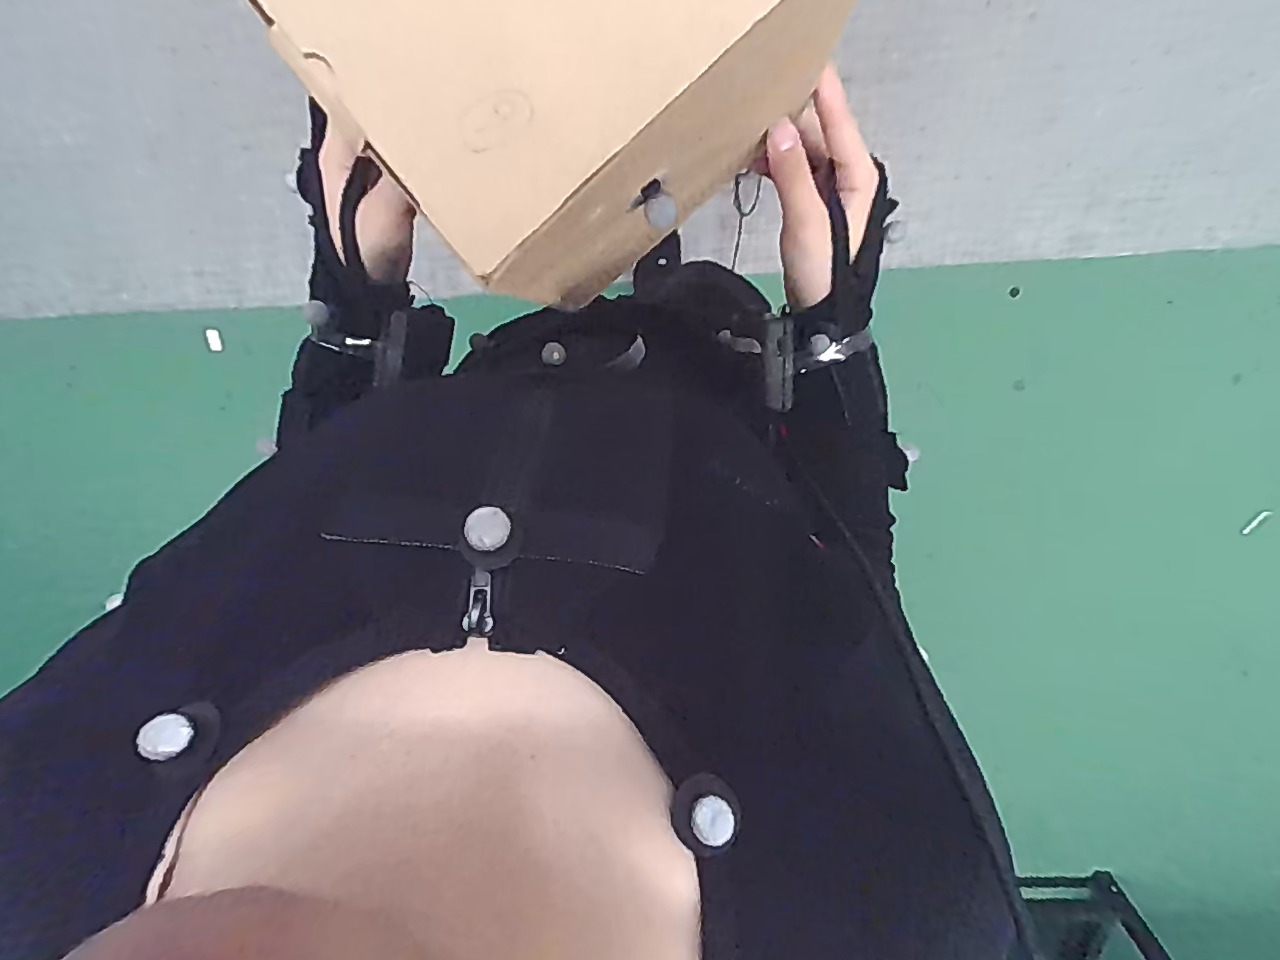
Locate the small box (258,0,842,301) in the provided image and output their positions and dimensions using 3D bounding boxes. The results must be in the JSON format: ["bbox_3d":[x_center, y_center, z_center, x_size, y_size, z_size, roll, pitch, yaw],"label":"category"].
[{"bbox_3d":[-0.028,-0.201,0.240,0.179,0.176,0.168,-36,98,13],"label":"small box"}]
